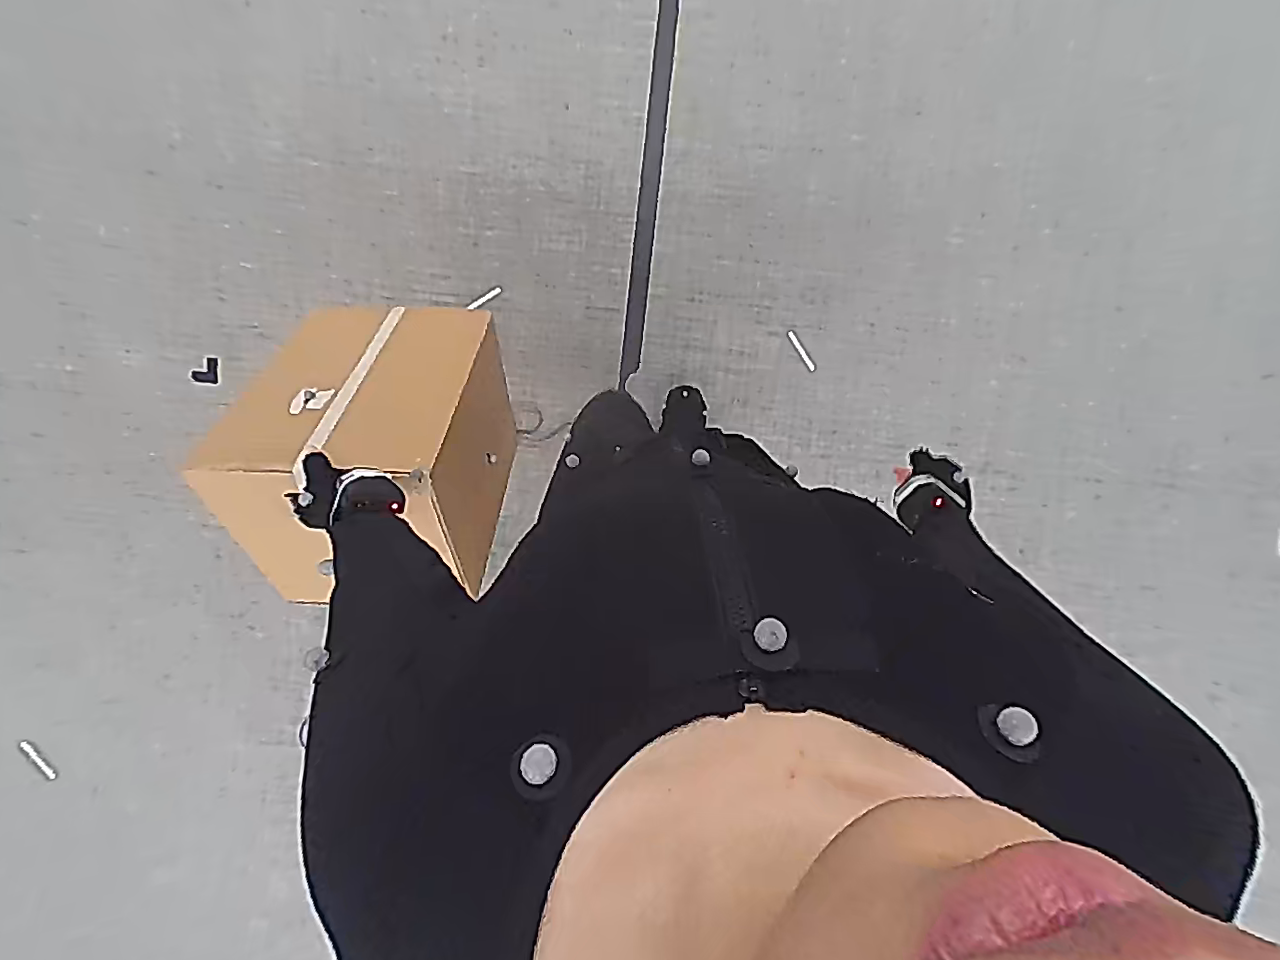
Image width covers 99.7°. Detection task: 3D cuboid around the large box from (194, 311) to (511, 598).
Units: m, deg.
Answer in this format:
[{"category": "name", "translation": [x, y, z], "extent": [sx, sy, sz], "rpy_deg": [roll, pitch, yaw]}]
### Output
[{"category": "large box", "translation": [-0.424, -0.050, 0.933], "extent": [0.320, 0.408, 0.320], "rpy_deg": [1, 136, 0]}]
